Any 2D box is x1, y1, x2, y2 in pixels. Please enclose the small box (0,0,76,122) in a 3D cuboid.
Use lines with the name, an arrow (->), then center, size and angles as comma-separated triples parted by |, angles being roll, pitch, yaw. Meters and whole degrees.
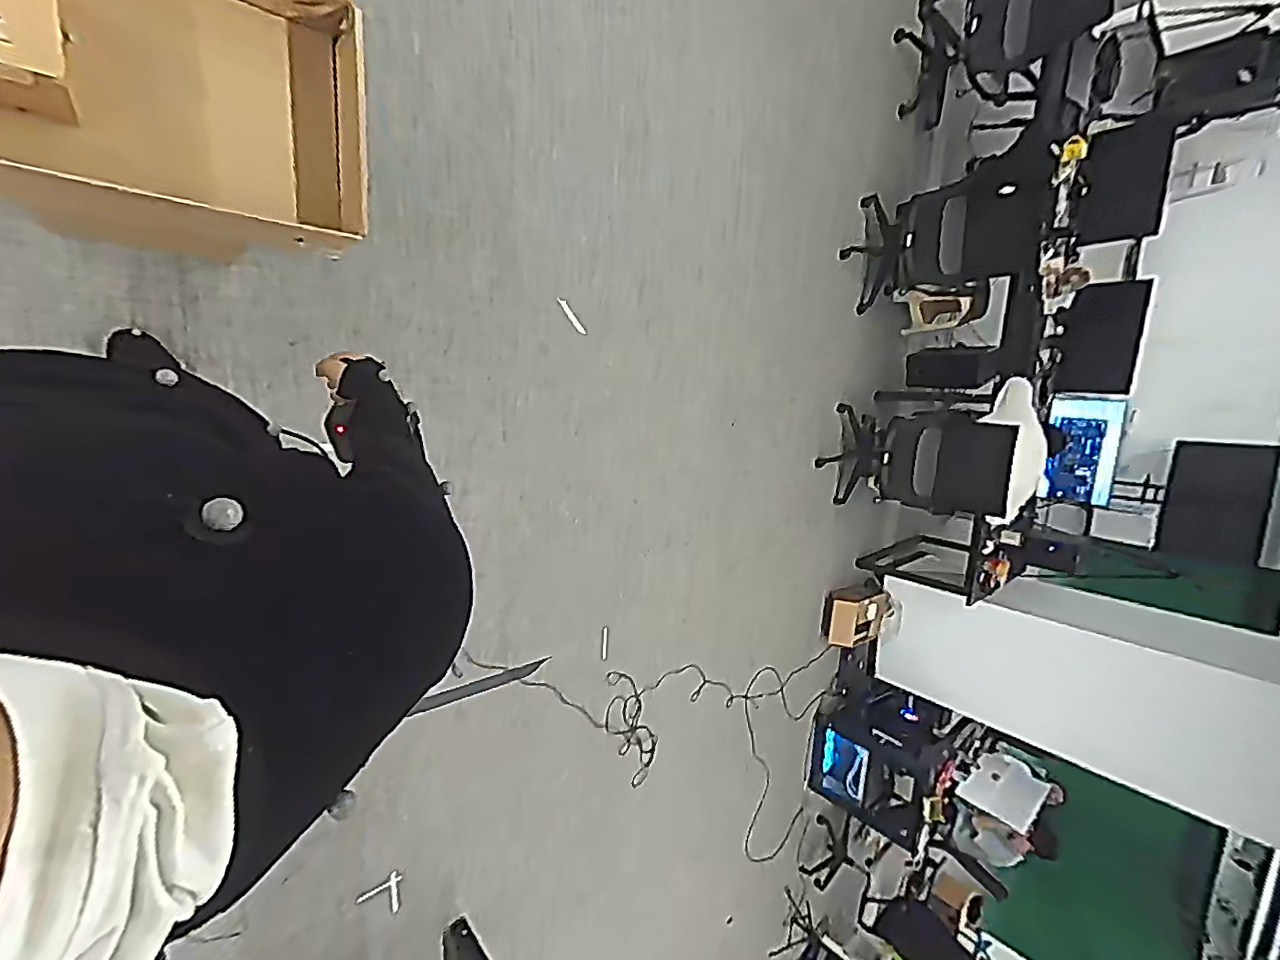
small box -> -0.858, -0.599, 0.692 | 0.168, 0.176, 0.179 | -6, 102, -41
